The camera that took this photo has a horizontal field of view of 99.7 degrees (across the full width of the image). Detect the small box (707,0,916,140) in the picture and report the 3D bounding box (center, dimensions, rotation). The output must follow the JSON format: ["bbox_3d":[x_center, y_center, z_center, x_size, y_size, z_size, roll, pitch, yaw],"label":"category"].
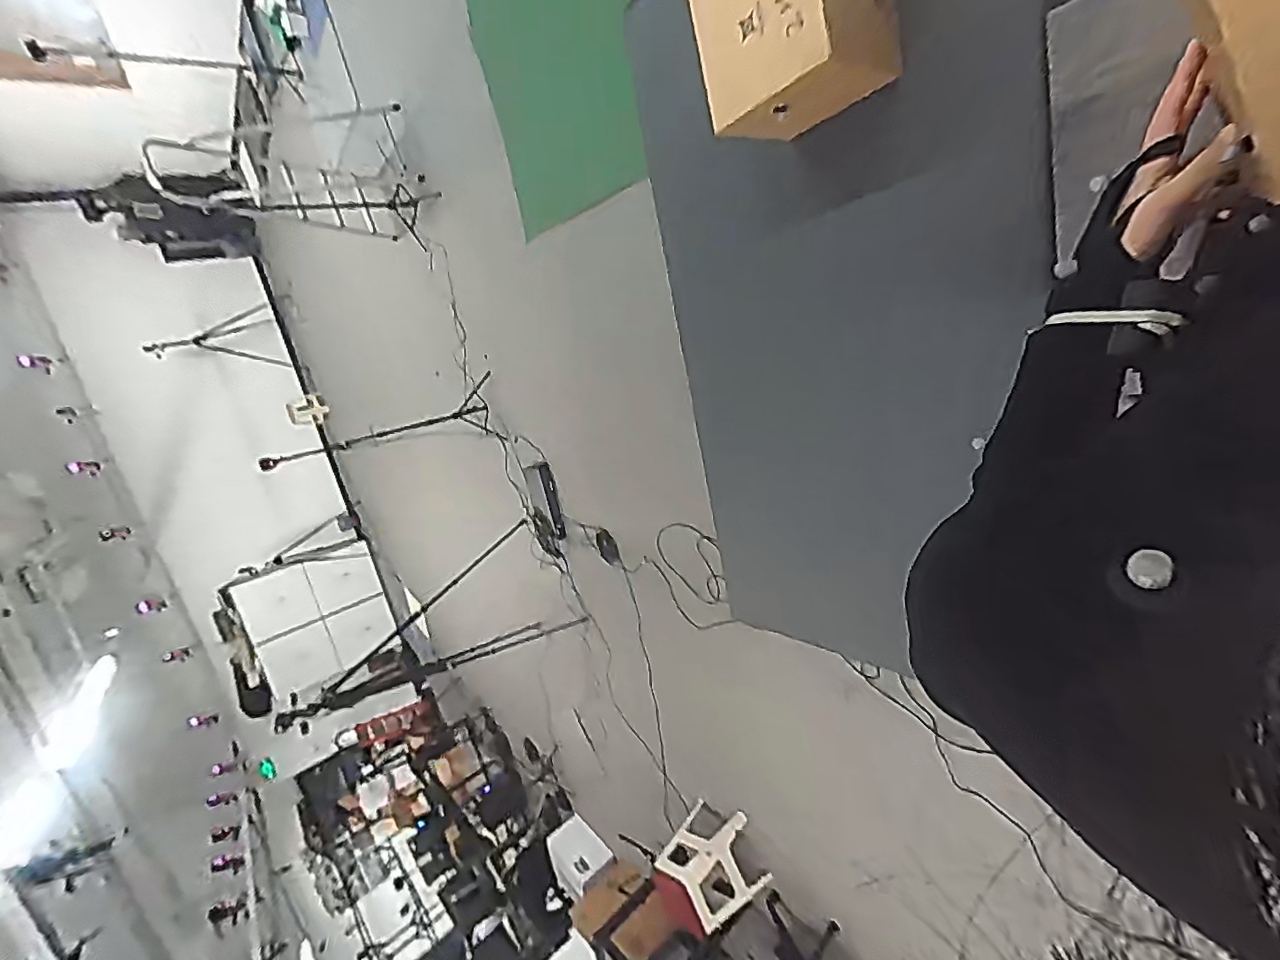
[{"bbox_3d":[0.218,-0.558,0.689,0.179,0.176,0.168,2,111,54],"label":"small box"}]

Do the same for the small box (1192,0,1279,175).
[{"bbox_3d":[0.435,-0.288,0.292,0.168,0.176,0.179,-22,98,49],"label":"small box"}]
